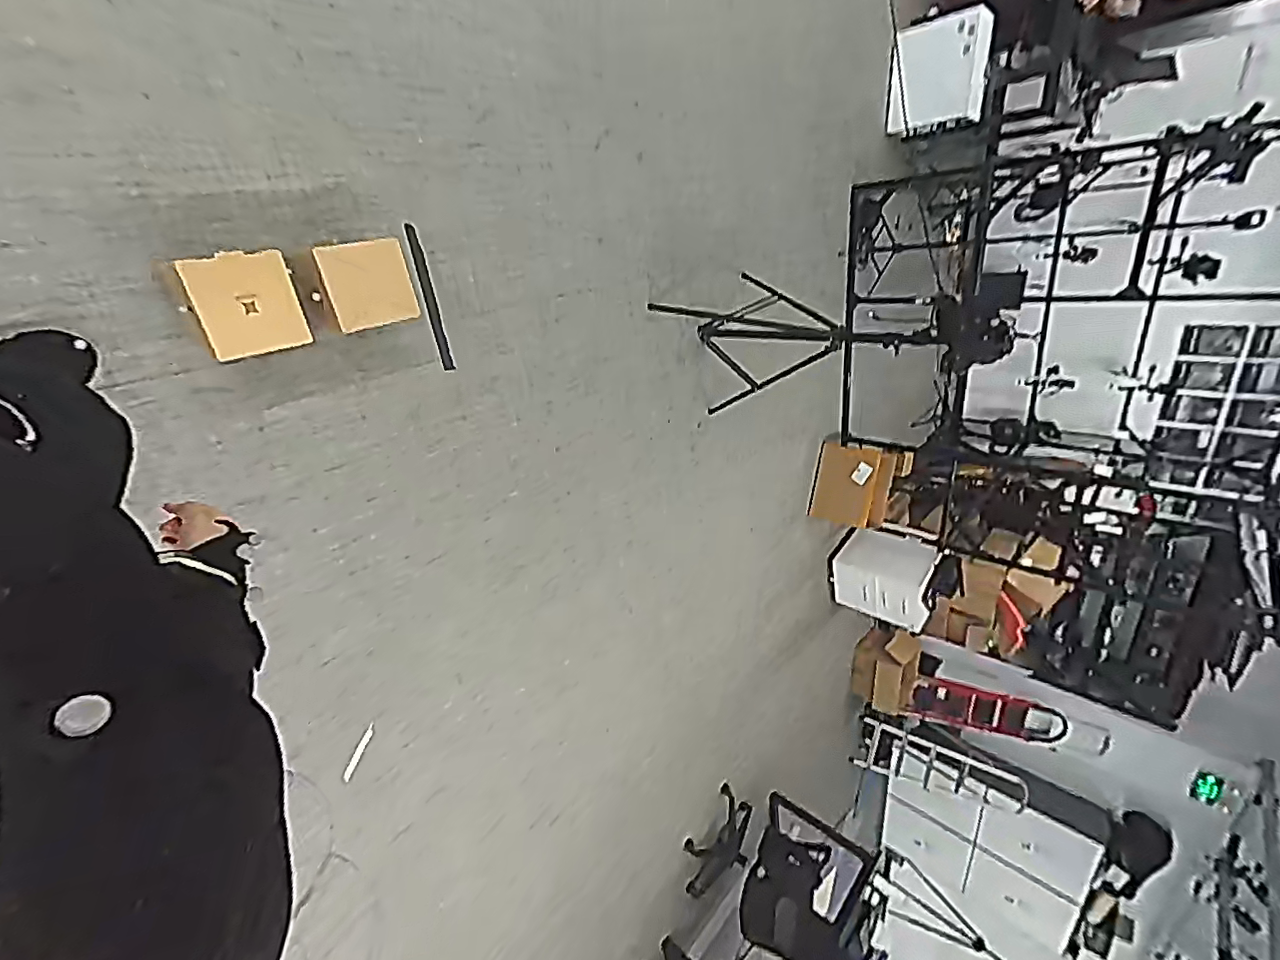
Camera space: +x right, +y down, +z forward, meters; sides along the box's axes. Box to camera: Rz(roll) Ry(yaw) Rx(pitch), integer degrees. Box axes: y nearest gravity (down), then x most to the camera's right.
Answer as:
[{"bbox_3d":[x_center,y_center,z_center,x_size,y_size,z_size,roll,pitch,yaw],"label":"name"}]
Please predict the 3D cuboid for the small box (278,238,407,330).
[{"bbox_3d":[-0.645,-0.428,1.184,0.179,0.176,0.168,-31,123,-39],"label":"small box"}]

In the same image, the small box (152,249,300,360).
[{"bbox_3d":[-0.799,-0.342,1.046,0.168,0.176,0.179,-29,122,-39],"label":"small box"}]
